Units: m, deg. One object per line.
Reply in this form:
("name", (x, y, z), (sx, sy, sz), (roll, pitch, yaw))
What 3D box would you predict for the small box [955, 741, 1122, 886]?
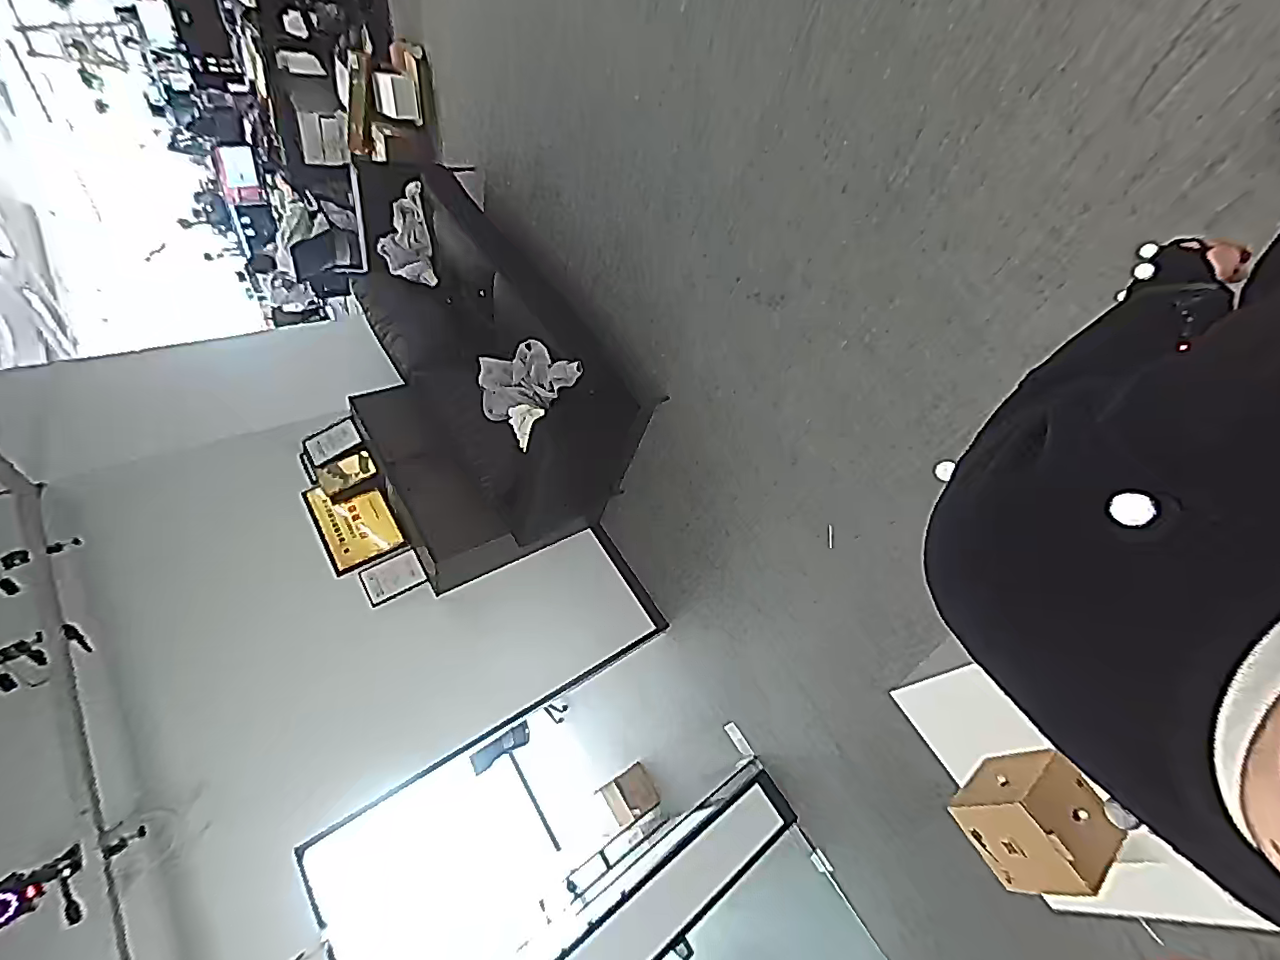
("small box", (0.753, 0.623, 1.019), (0.168, 0.176, 0.179), (54, 146, 21))
